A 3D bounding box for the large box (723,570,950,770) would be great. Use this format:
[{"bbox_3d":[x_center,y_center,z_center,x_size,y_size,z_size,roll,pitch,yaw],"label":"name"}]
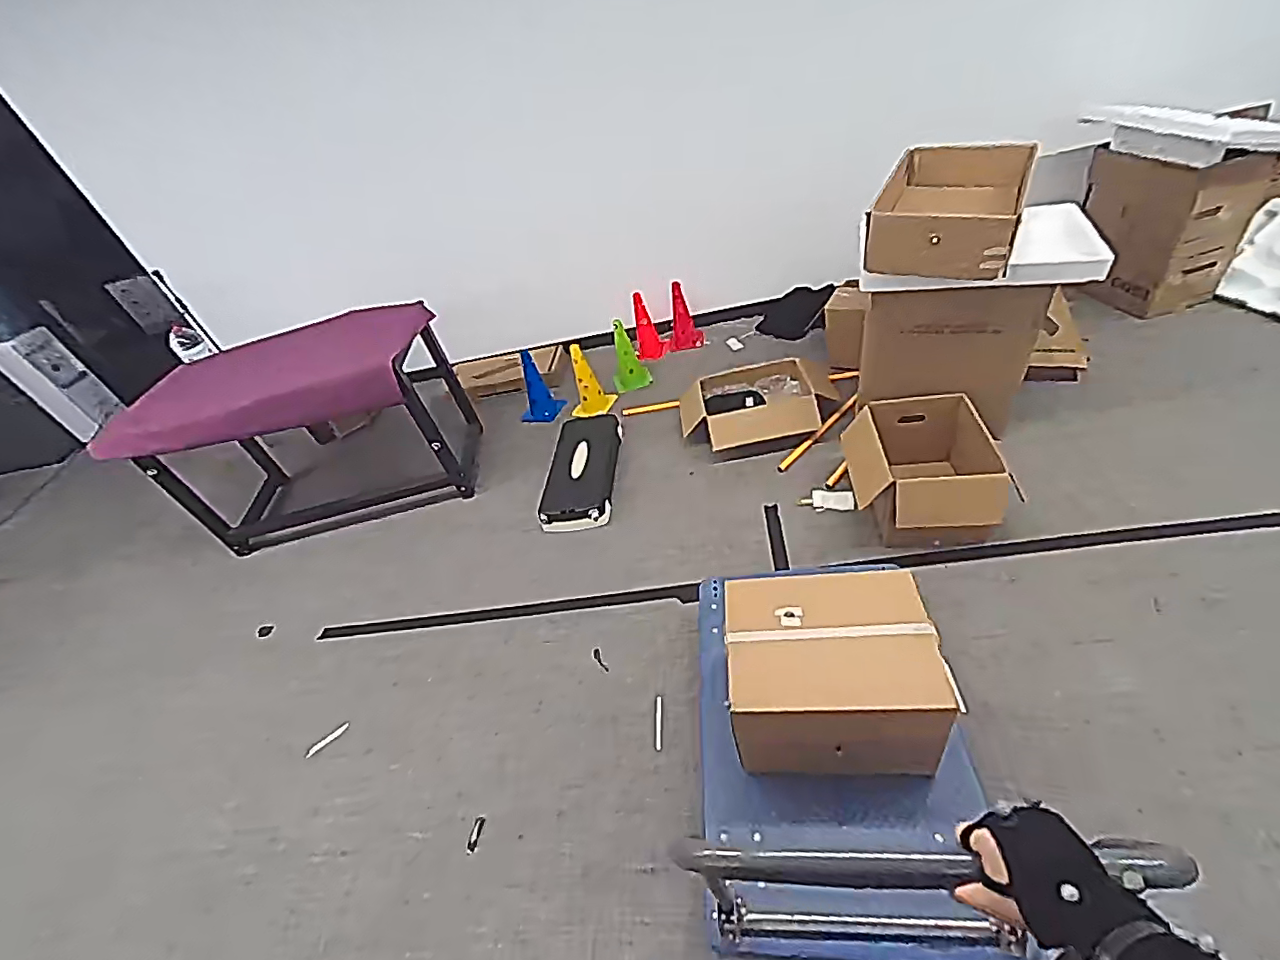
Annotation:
[{"bbox_3d":[0.414,0.436,1.220,0.408,0.320,0.320,-7,40,12],"label":"large box"}]
